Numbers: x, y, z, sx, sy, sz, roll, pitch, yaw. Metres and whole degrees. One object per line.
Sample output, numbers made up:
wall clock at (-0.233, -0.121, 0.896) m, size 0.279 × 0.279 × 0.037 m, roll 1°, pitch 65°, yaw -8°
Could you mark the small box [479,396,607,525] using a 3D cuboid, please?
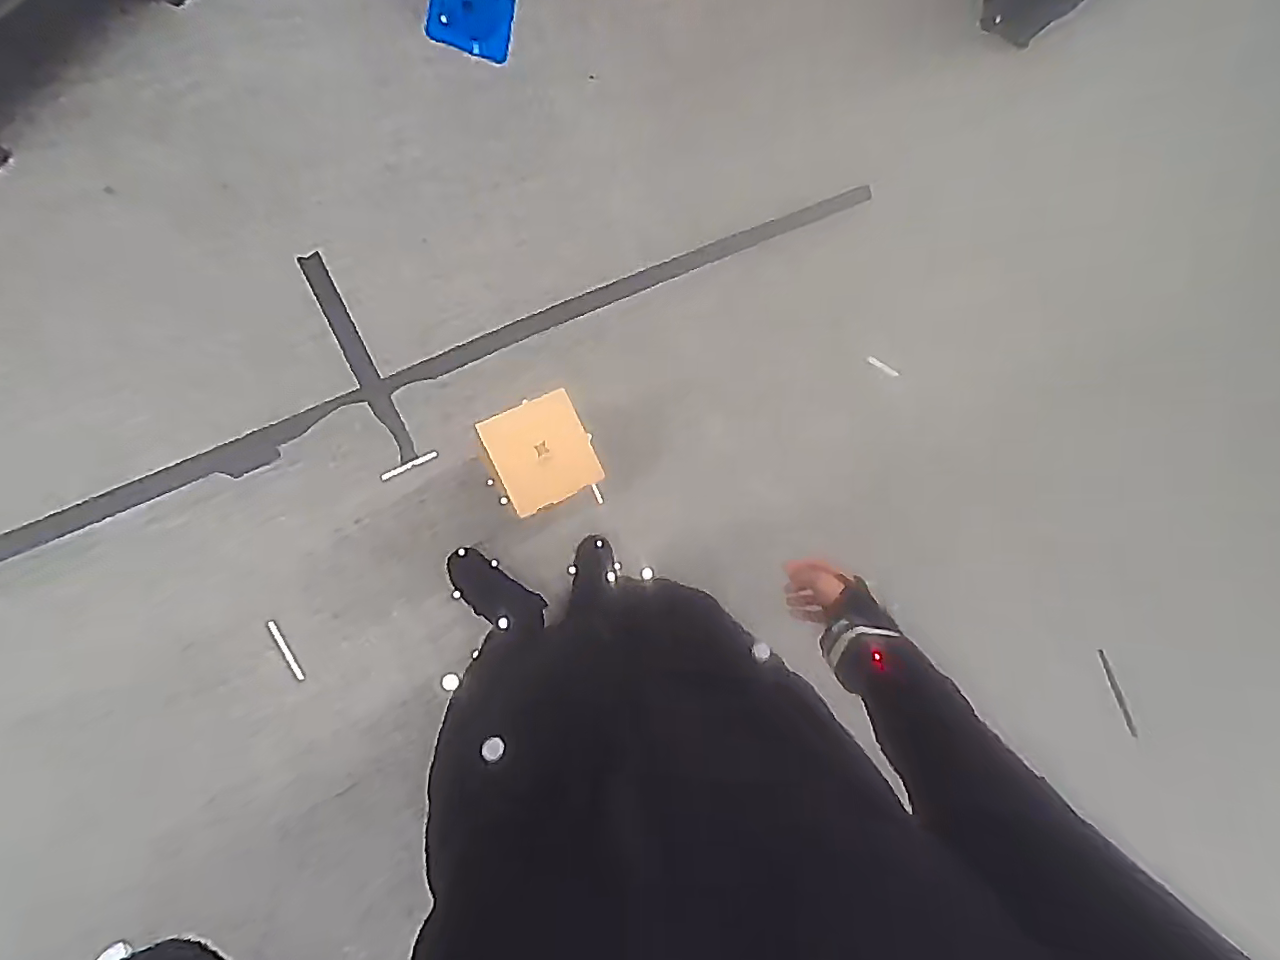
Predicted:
small box at (-0.186, -0.030, 0.991) m, size 0.168 × 0.176 × 0.179 m, roll -27°, pitch 96°, yaw -17°
